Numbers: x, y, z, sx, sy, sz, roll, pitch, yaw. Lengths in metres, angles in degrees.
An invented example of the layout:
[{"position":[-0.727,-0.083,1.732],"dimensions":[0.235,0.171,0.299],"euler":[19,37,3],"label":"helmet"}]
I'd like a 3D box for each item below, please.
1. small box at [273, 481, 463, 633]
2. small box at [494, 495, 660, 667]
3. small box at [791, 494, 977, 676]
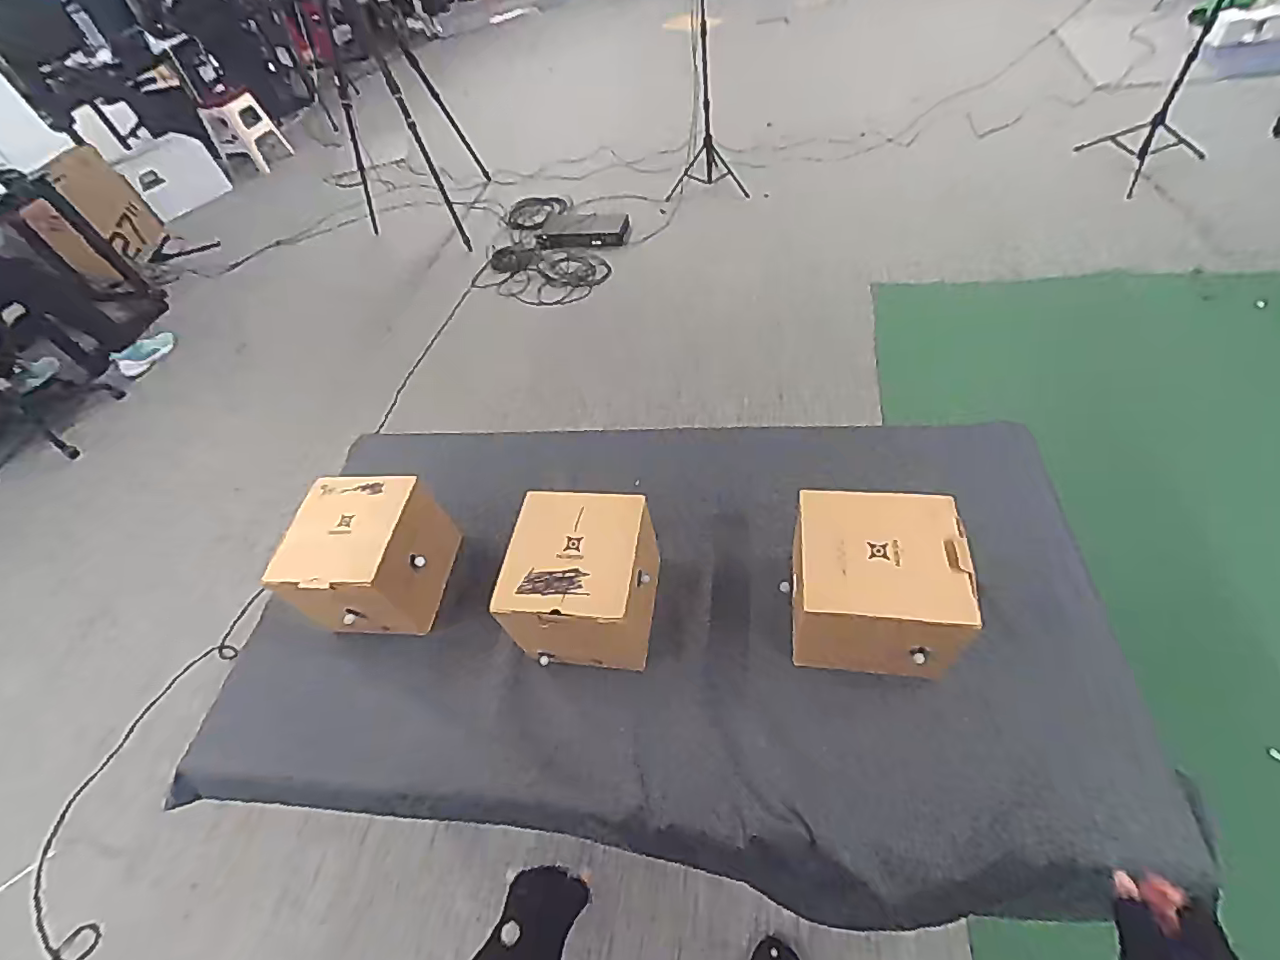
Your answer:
[{"position":[-0.392,0.121,0.818],"dimensions":[0.168,0.176,0.179],"euler":[-1,53,10],"label":"small box"},{"position":[-0.070,0.140,0.739],"dimensions":[0.168,0.176,0.179],"euler":[1,52,12],"label":"small box"},{"position":[0.284,0.134,0.675],"dimensions":[0.179,0.176,0.168],"euler":[0,51,14],"label":"small box"}]
